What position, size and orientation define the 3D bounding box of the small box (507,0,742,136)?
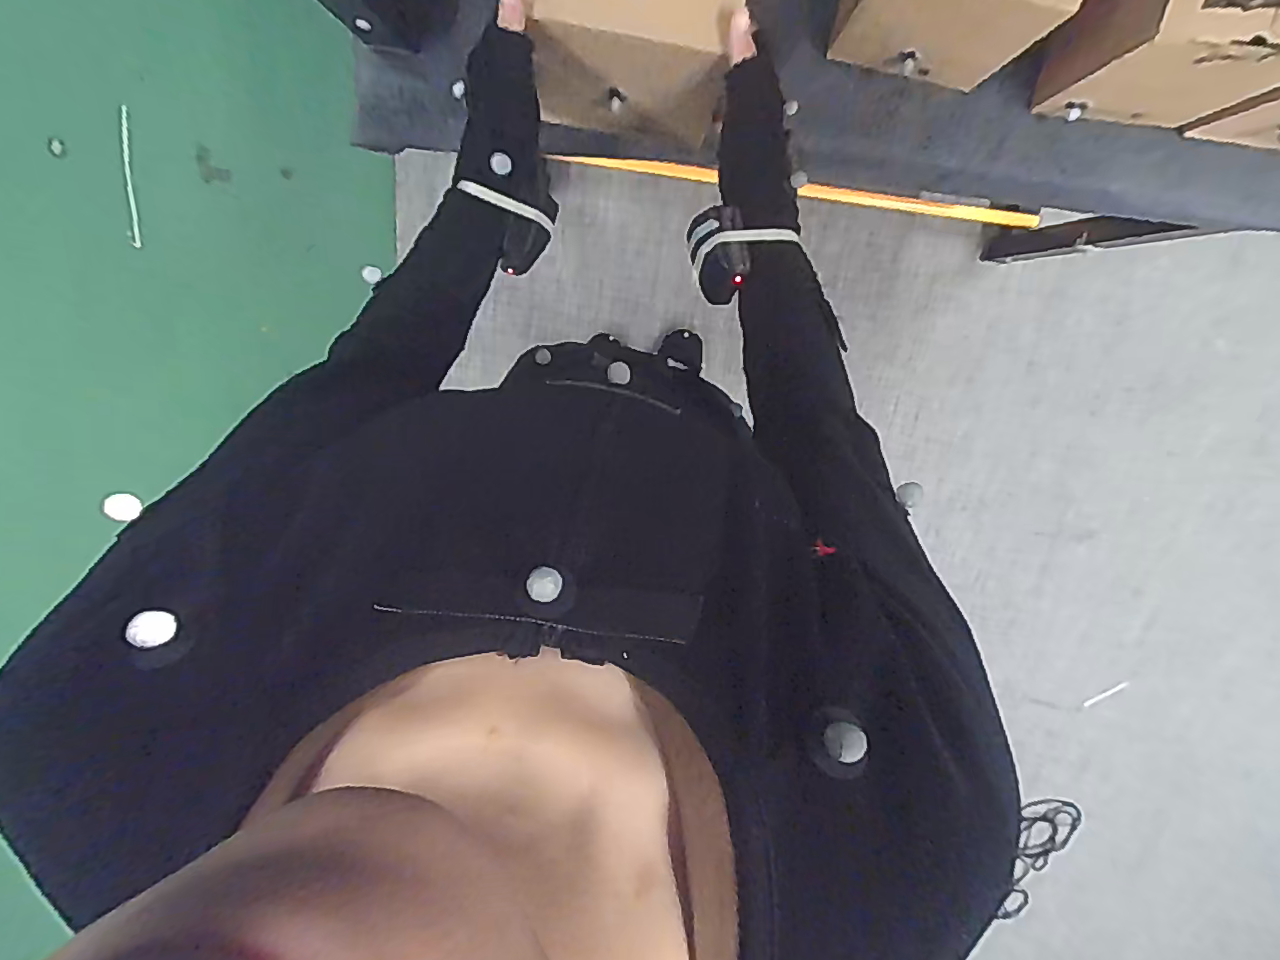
[{"bbox_3d":[-0.003,-0.415,0.439,0.168,0.176,0.179,7,100,-5],"label":"small box"}]
